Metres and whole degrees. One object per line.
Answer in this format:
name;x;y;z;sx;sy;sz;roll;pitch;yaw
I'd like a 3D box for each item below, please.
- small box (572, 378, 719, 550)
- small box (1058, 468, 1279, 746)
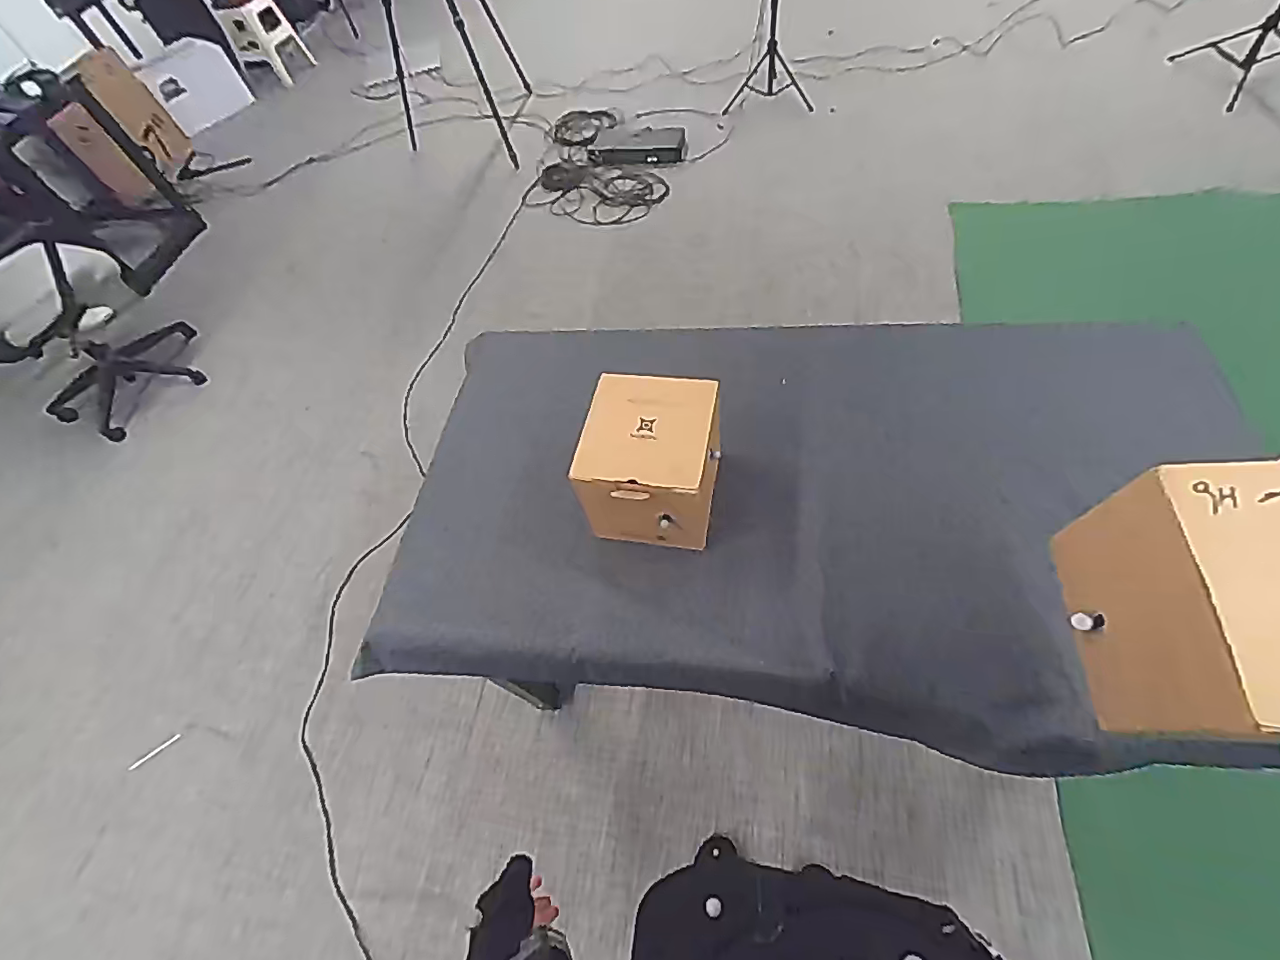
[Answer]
small box;0.020;-0.019;0.759;0.168;0.176;0.179;6;58;12
small box;0.461;0.103;0.405;0.168;0.176;0.179;-2;65;11
